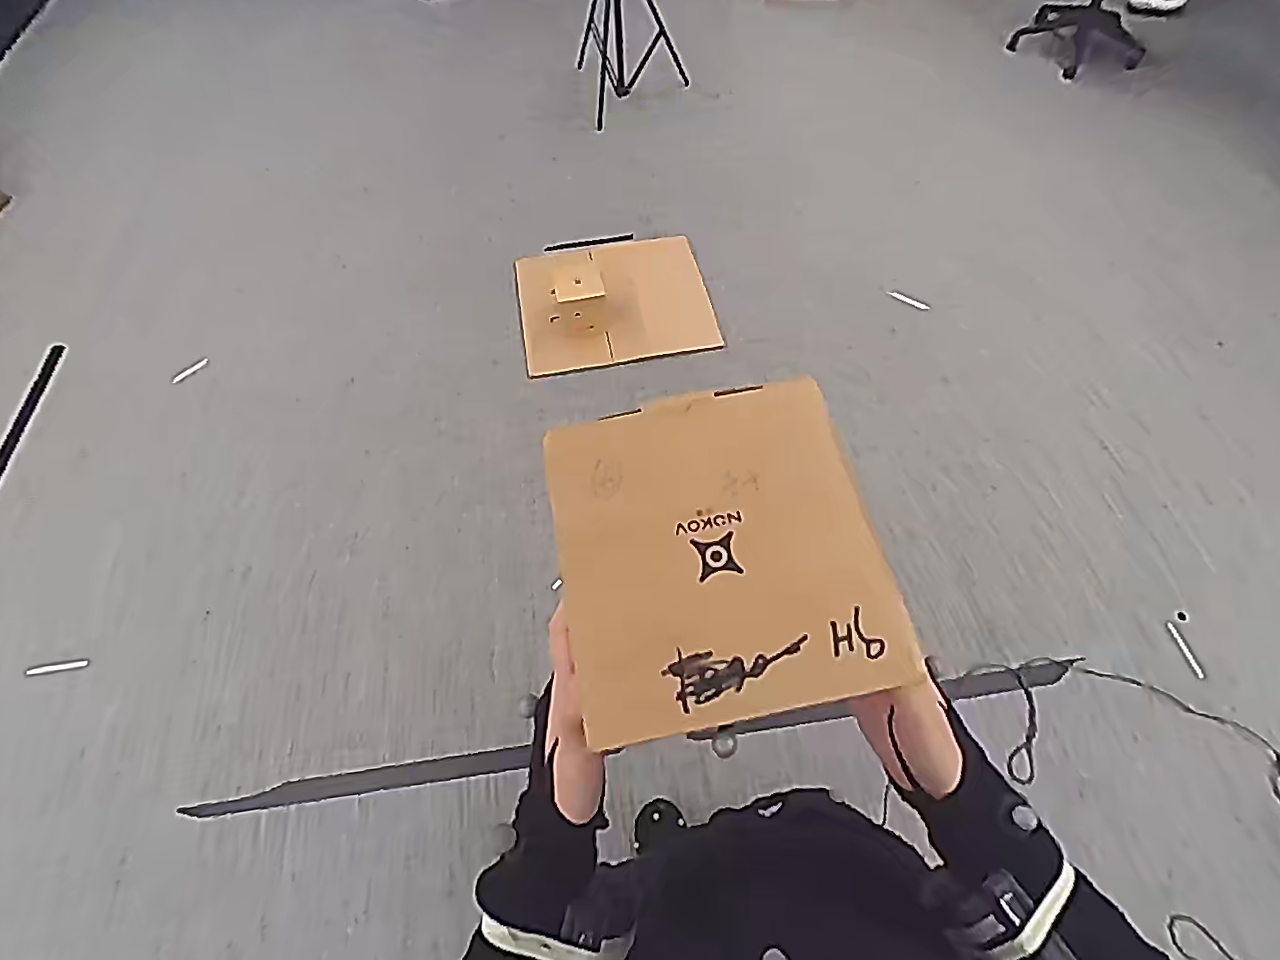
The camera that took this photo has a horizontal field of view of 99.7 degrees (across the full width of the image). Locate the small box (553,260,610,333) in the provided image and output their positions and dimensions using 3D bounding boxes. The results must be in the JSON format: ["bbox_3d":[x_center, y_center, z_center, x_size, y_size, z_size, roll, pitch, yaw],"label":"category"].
[{"bbox_3d":[-0.204,-0.640,1.913,0.168,0.176,0.179,-12,62,-5],"label":"small box"}]

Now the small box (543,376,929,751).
[{"bbox_3d":[0.045,0.064,0.354,0.168,0.176,0.179,-13,67,1],"label":"small box"}]
